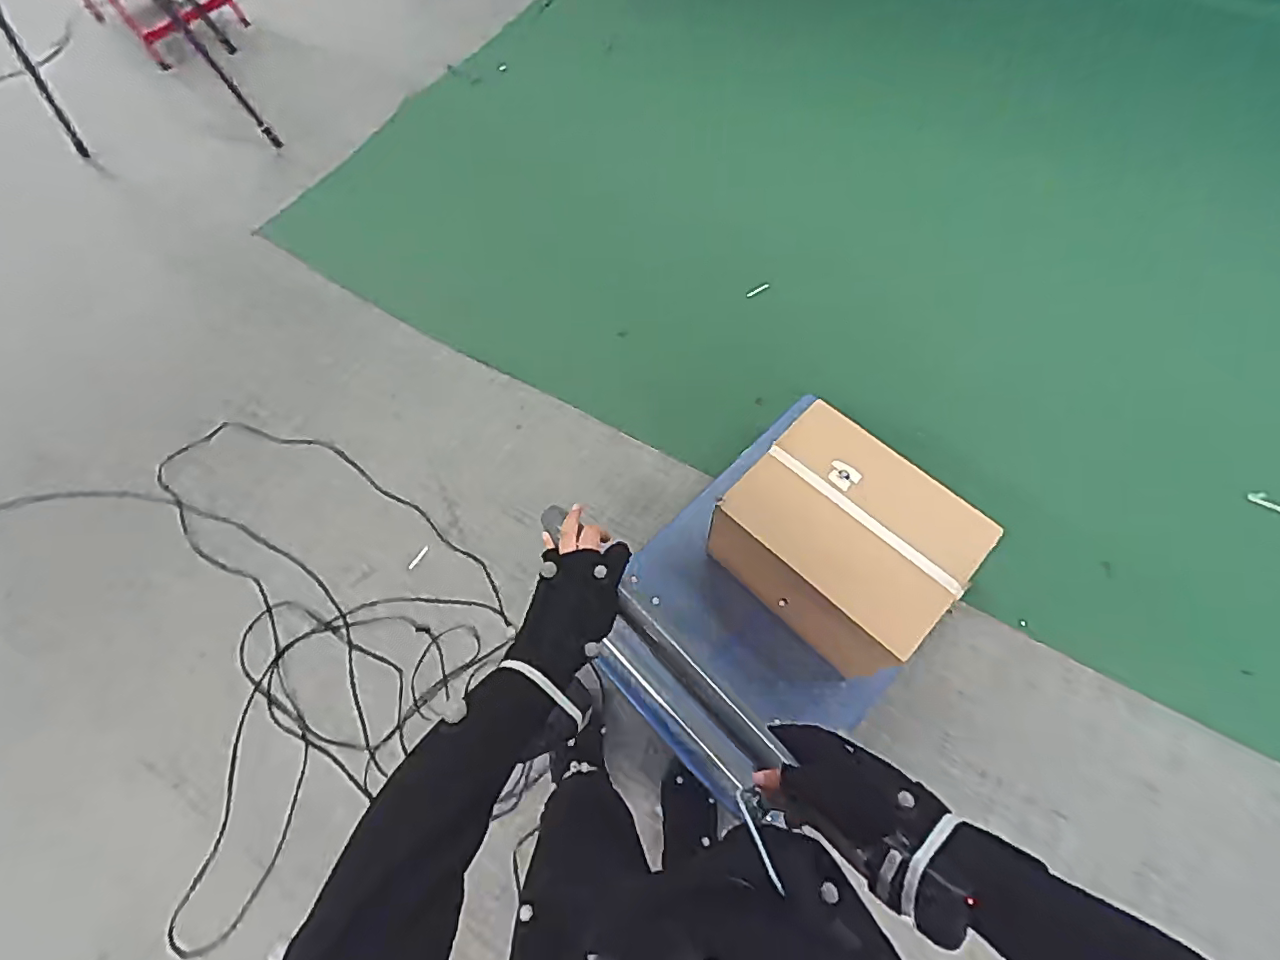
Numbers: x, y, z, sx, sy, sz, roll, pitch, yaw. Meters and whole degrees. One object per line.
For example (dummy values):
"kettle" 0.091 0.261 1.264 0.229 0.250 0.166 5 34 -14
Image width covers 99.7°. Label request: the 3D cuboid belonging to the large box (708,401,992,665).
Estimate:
"large box" 0.394 0.121 1.120 0.408 0.320 0.320 41 74 19
